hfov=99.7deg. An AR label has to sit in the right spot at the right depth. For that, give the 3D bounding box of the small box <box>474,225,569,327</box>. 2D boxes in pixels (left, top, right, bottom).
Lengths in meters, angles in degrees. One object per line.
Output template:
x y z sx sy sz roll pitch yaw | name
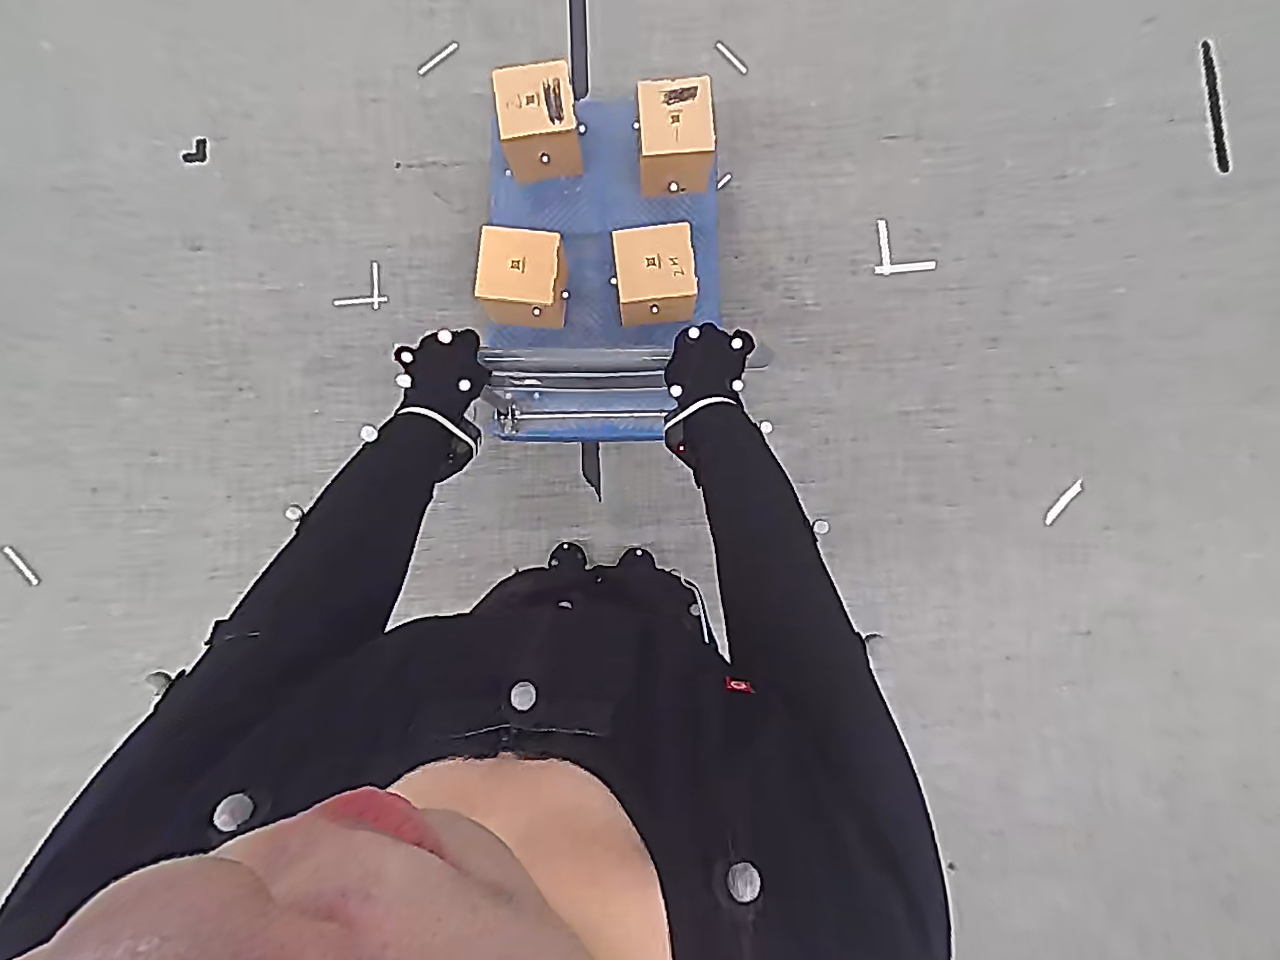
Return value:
-0.271 -0.471 1.270 0.179 0.176 0.168 5 87 -1 | small box

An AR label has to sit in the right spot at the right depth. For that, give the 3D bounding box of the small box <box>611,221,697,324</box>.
0.033 -0.477 1.267 0.179 0.176 0.168 -6 87 0 | small box

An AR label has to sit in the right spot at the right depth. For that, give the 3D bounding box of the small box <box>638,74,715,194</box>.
0.081 -0.813 1.282 0.168 0.176 0.179 -4 88 1 | small box
